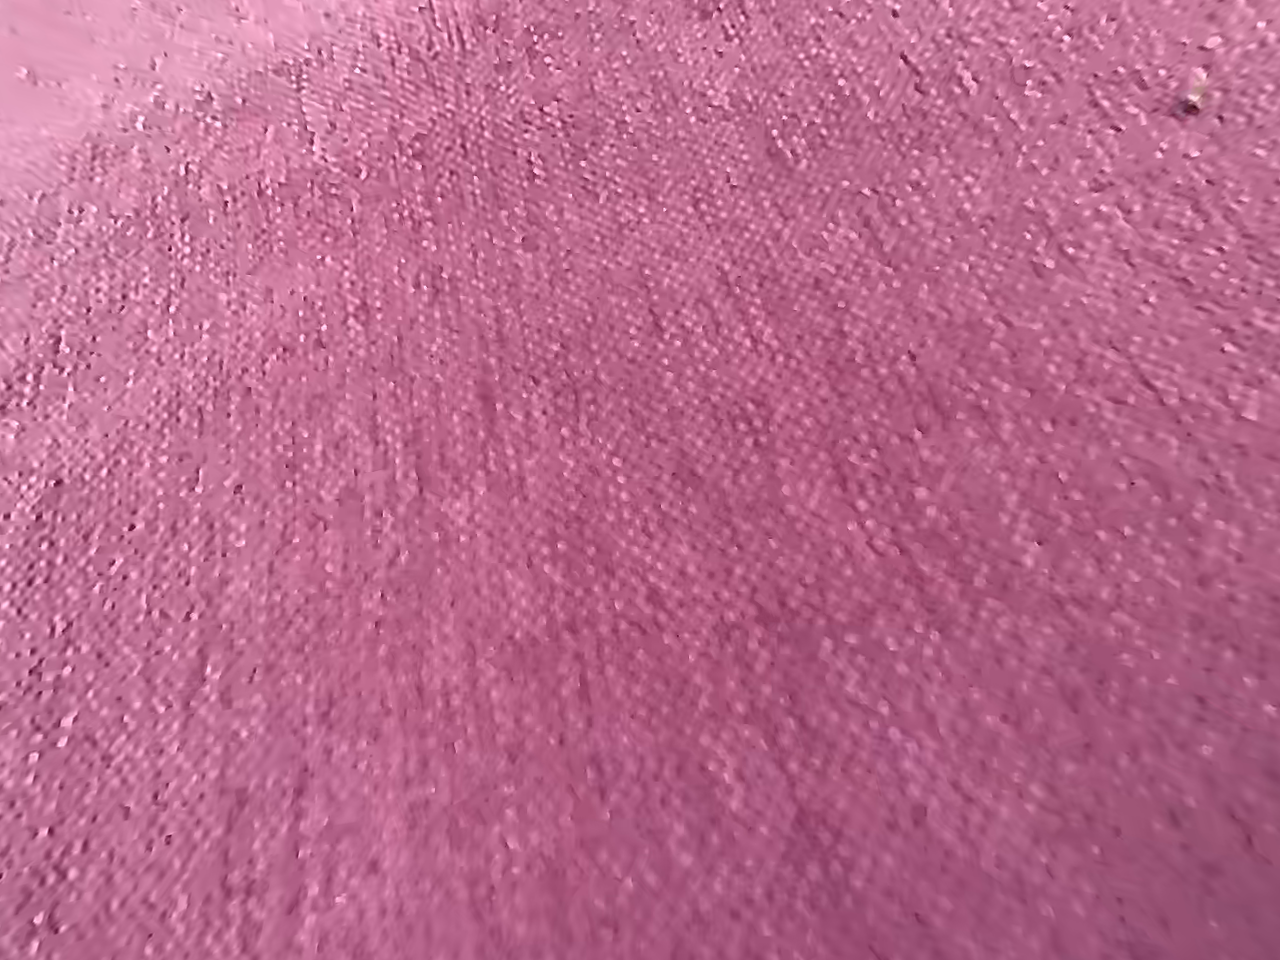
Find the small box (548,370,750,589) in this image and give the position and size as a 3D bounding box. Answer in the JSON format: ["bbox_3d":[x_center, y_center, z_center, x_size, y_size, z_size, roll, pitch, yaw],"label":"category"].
[{"bbox_3d":[0.014,0.010,0.621,0.168,0.176,0.179,-21,71,2],"label":"small box"}]

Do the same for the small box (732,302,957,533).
[{"bbox_3d":[0.208,-0.060,0.614,0.168,0.176,0.179,-21,69,2],"label":"small box"}]
